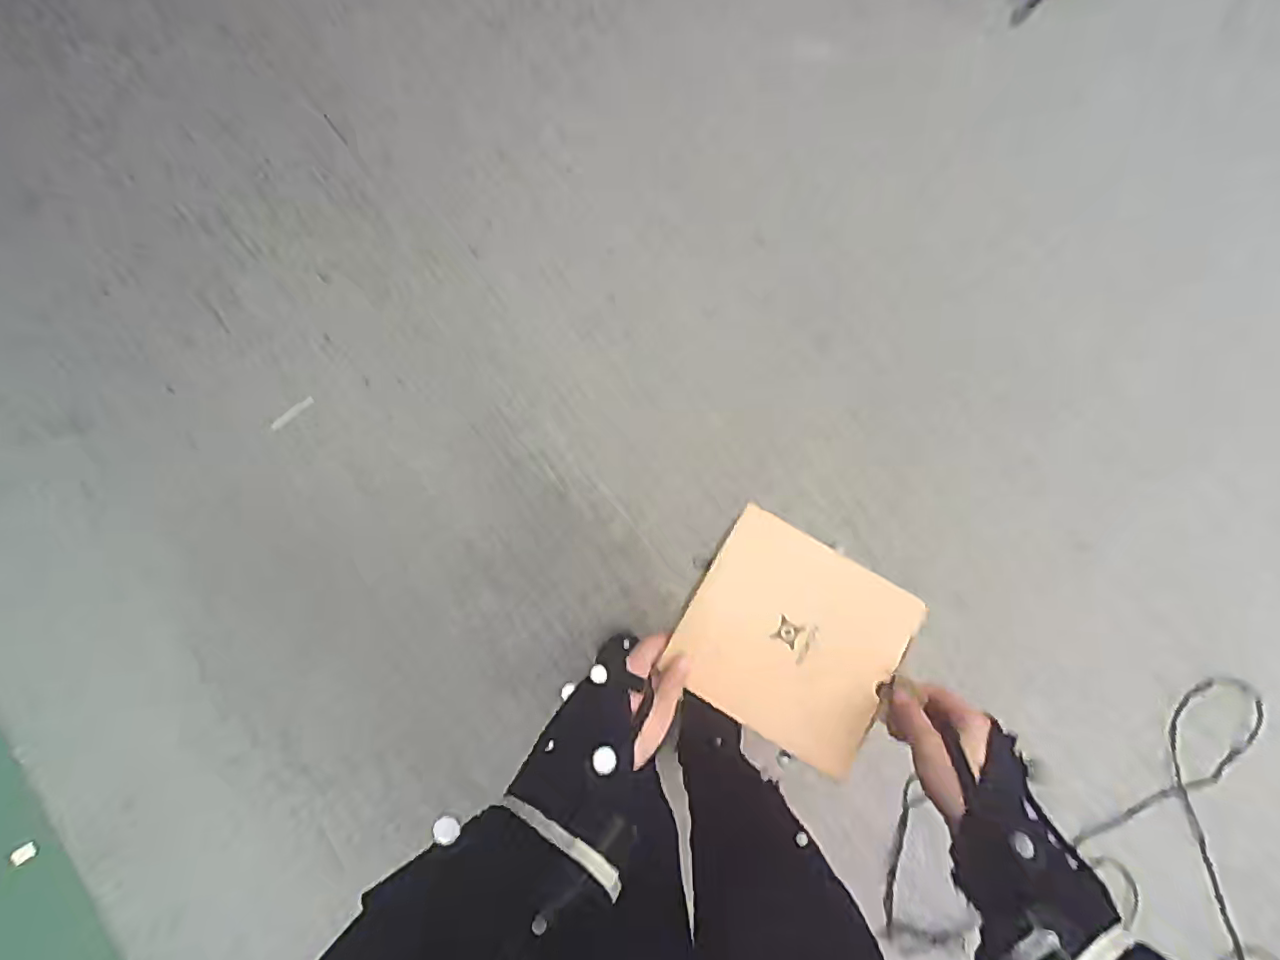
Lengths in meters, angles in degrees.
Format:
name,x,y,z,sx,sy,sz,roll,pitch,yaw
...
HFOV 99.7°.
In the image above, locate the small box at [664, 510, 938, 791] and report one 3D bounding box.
name,x,y,z,sx,sy,sz,roll,pitch,yaw
small box,0.135,0.153,0.524,0.179,0.176,0.168,30,80,7
